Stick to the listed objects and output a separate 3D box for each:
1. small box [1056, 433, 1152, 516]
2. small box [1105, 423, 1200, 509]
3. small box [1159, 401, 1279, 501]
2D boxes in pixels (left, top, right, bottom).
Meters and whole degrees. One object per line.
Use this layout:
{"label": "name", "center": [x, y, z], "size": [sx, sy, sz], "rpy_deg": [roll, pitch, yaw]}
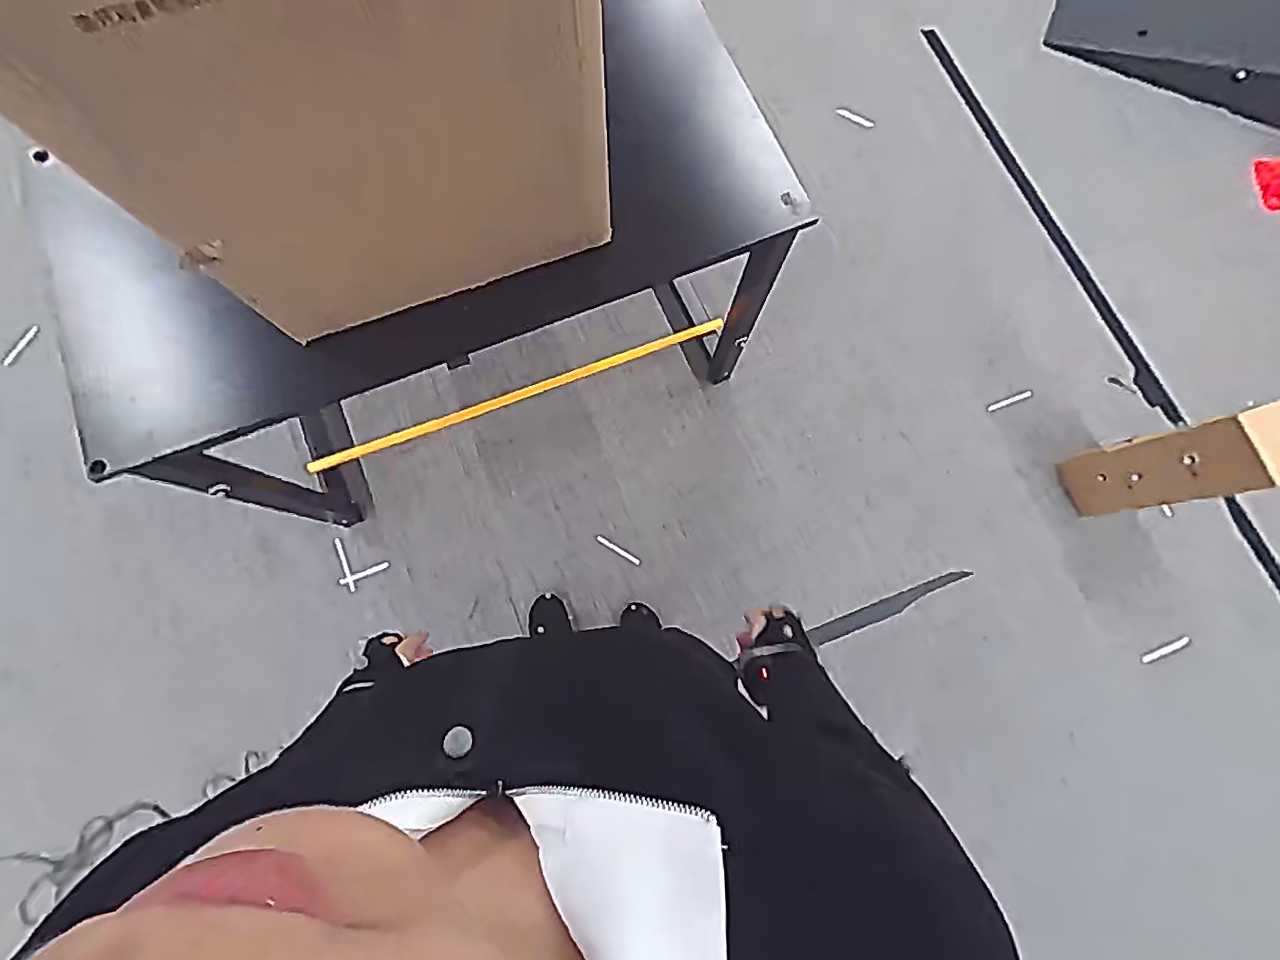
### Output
{"label": "small box", "center": [1.332, -0.009, 1.523], "size": [0.168, 0.176, 0.179], "rpy_deg": [-17, 80, -5]}
{"label": "small box", "center": [1.344, -0.037, 1.361], "size": [0.179, 0.176, 0.168], "rpy_deg": [-18, 79, -5]}
{"label": "small box", "center": [1.336, -0.064, 1.200], "size": [0.179, 0.176, 0.168], "rpy_deg": [-18, 79, -4]}
